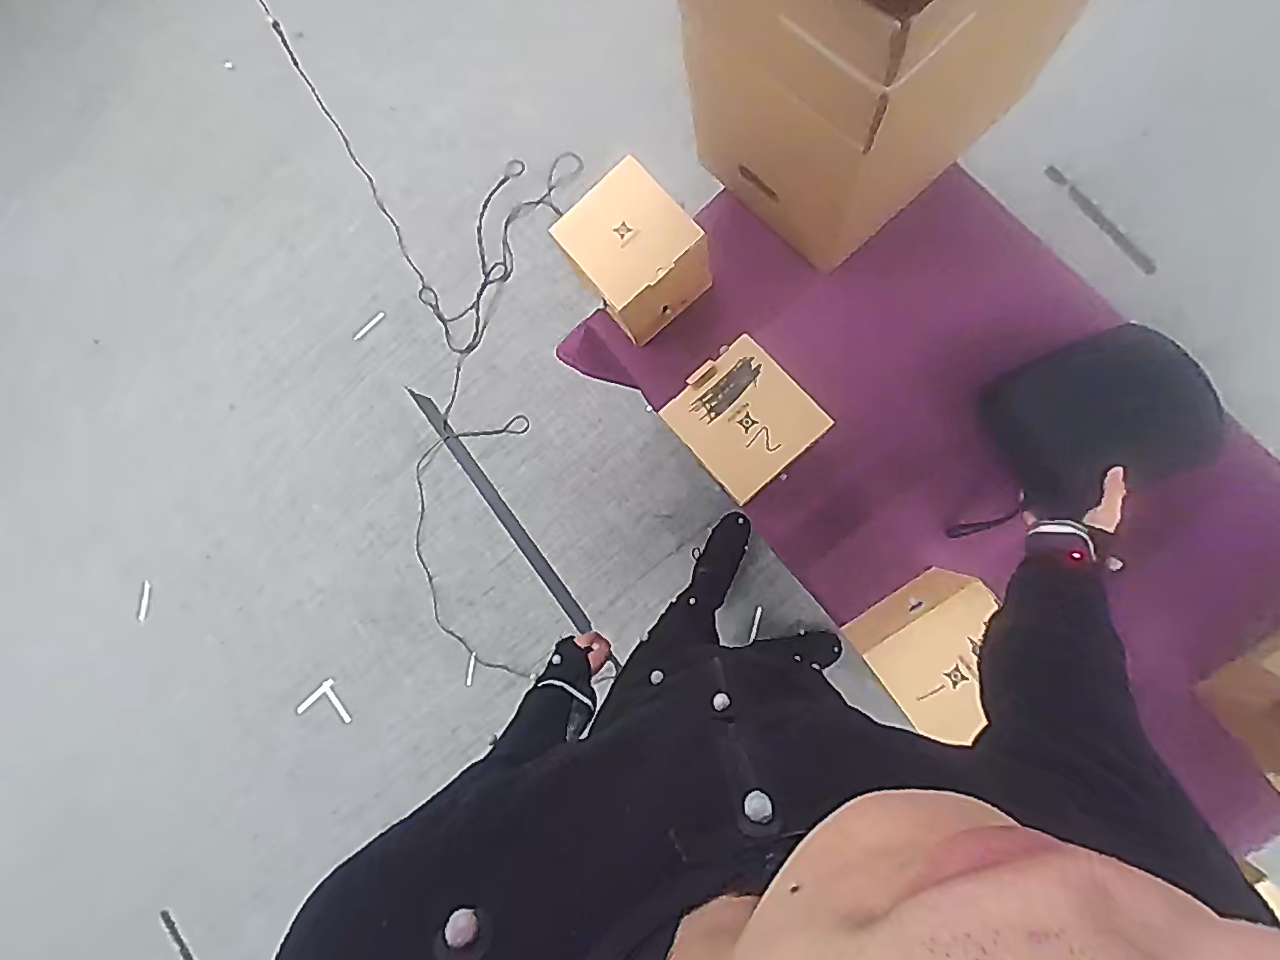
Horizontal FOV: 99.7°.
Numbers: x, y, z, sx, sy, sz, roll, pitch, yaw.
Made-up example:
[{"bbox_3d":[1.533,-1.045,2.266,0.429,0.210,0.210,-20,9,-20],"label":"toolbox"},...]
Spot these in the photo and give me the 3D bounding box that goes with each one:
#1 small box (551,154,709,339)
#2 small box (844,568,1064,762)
[{"bbox_3d":[-0.007,-0.357,0.863,0.168,0.176,0.179,-41,82,6],"label":"small box"},{"bbox_3d":[0.412,0.238,0.747,0.179,0.176,0.168,-36,80,7],"label":"small box"}]
